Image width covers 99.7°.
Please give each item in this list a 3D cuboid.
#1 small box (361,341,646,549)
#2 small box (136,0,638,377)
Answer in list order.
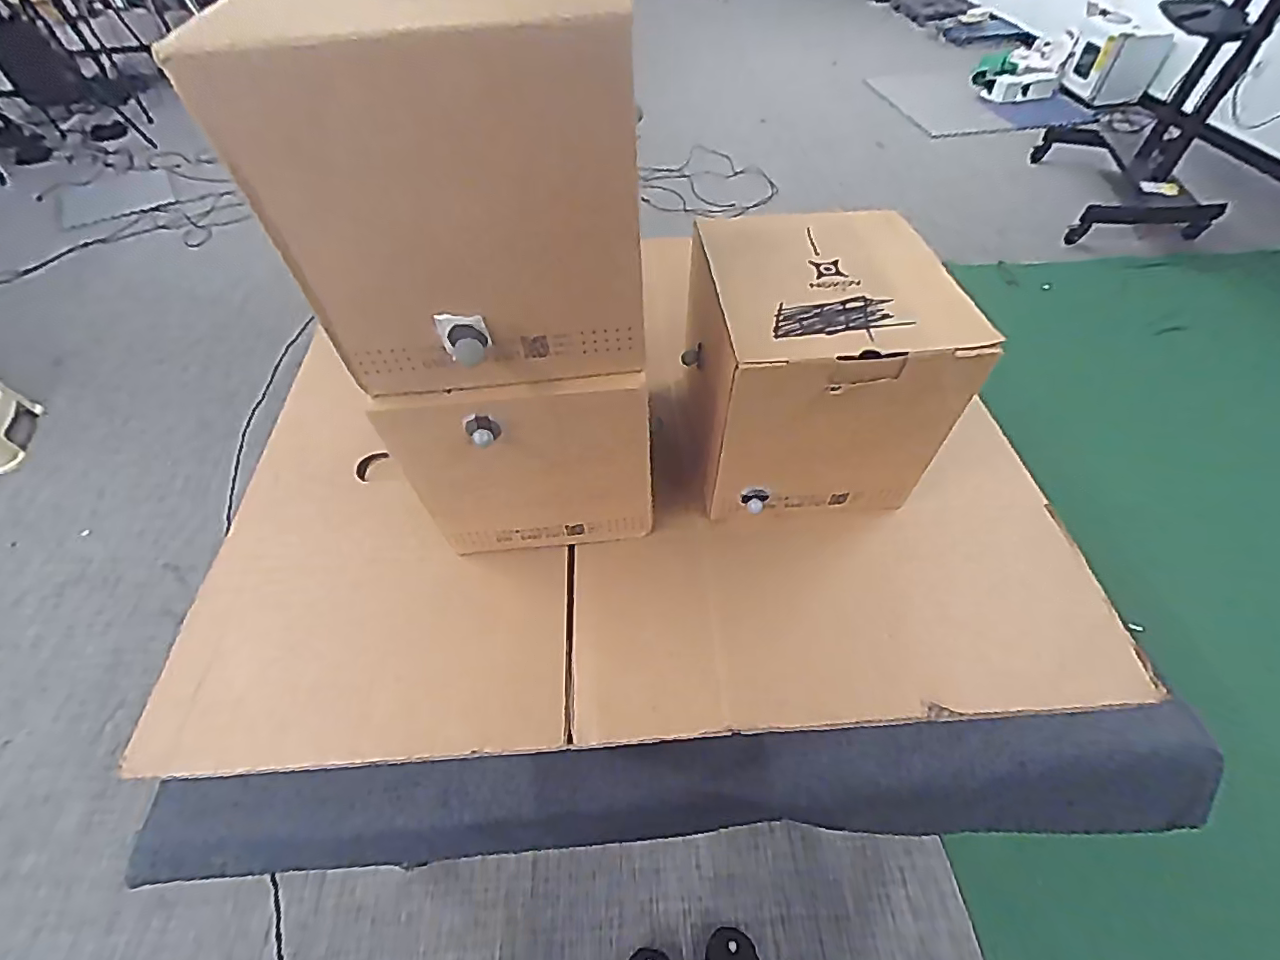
[{"bbox_3d":[-0.085,-0.066,0.431,0.168,0.176,0.179,-5,52,0],"label":"small box"},{"bbox_3d":[-0.093,-0.181,0.295,0.168,0.176,0.179,-7,54,-2],"label":"small box"}]
